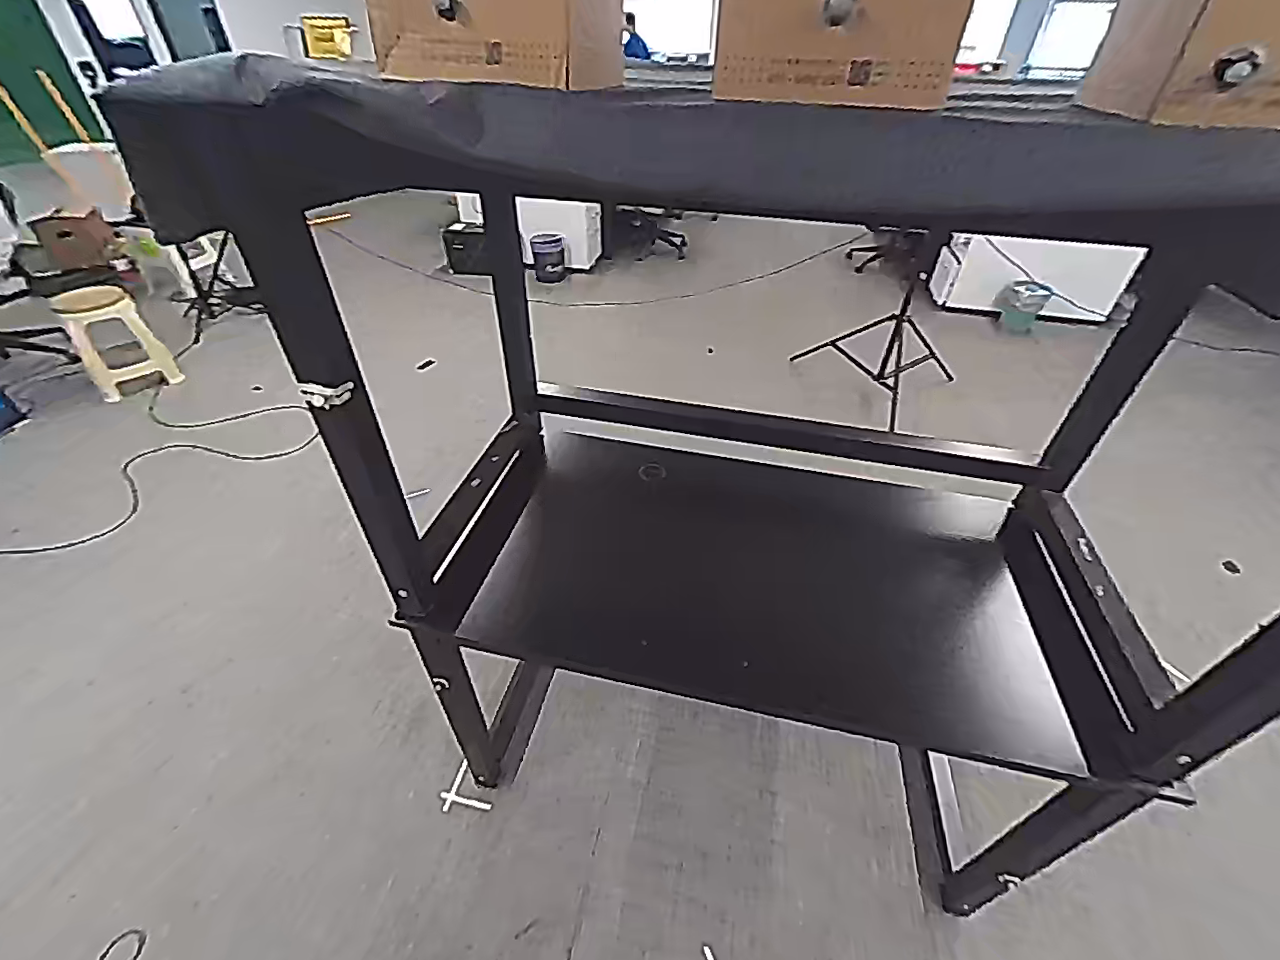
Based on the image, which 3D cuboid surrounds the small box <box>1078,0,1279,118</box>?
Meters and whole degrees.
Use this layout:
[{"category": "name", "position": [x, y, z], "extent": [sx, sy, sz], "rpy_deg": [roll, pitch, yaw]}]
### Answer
[{"category": "small box", "position": [0.449, -0.347, 0.363], "extent": [0.168, 0.176, 0.179], "rpy_deg": [12, 39, 12]}]

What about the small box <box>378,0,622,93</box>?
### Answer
[{"category": "small box", "position": [-0.111, -0.434, 0.448], "extent": [0.168, 0.176, 0.179], "rpy_deg": [10, 39, 8]}]

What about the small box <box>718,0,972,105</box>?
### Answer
[{"category": "small box", "position": [0.156, -0.393, 0.406], "extent": [0.168, 0.176, 0.179], "rpy_deg": [10, 38, 10]}]
